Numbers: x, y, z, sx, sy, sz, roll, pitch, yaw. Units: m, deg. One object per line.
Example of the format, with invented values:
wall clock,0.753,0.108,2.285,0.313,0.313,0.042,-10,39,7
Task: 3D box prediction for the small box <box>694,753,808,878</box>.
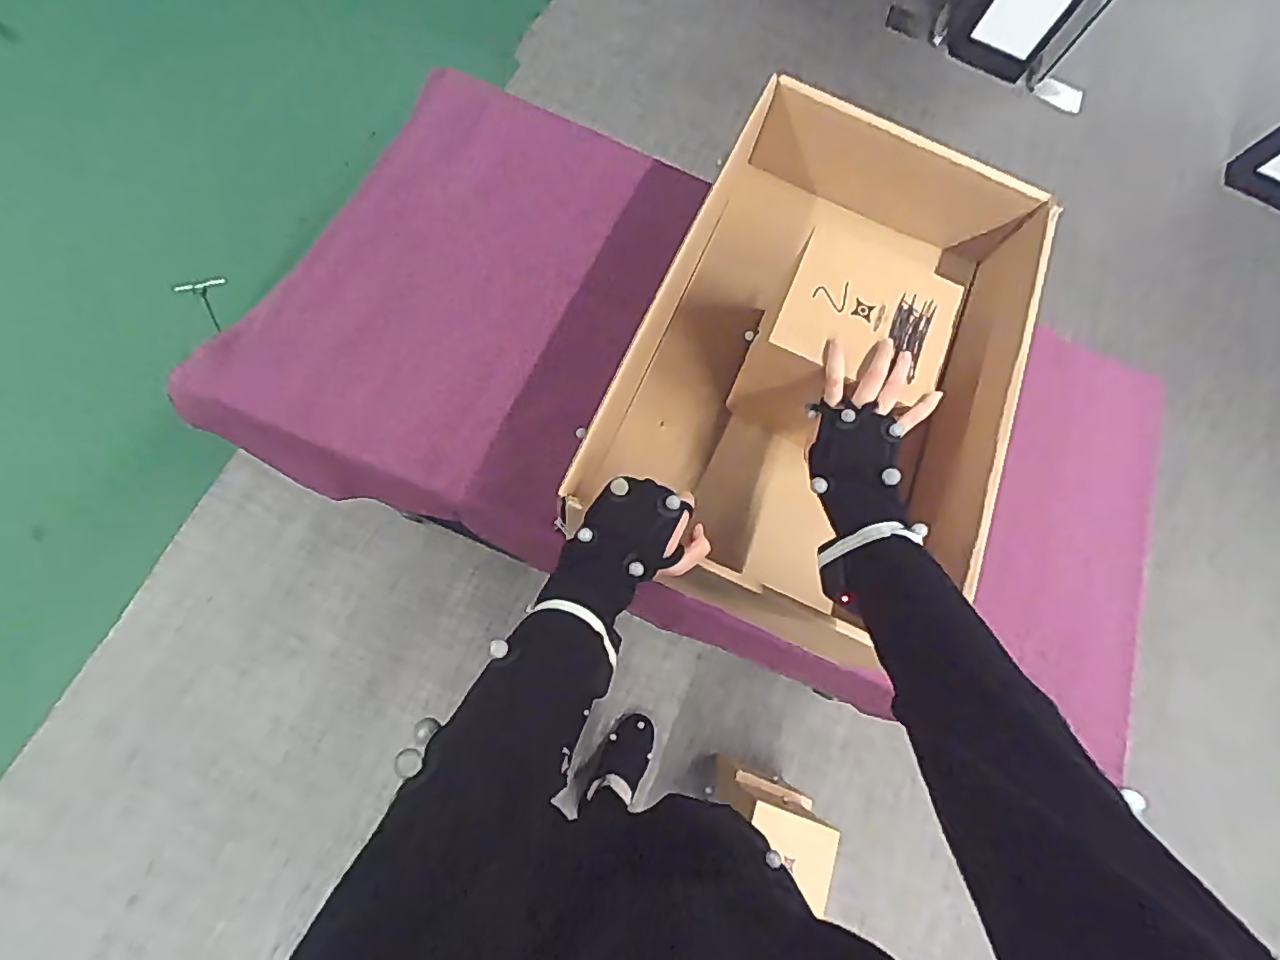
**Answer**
small box,0.239,0.731,1.200,0.179,0.176,0.168,22,72,-1
